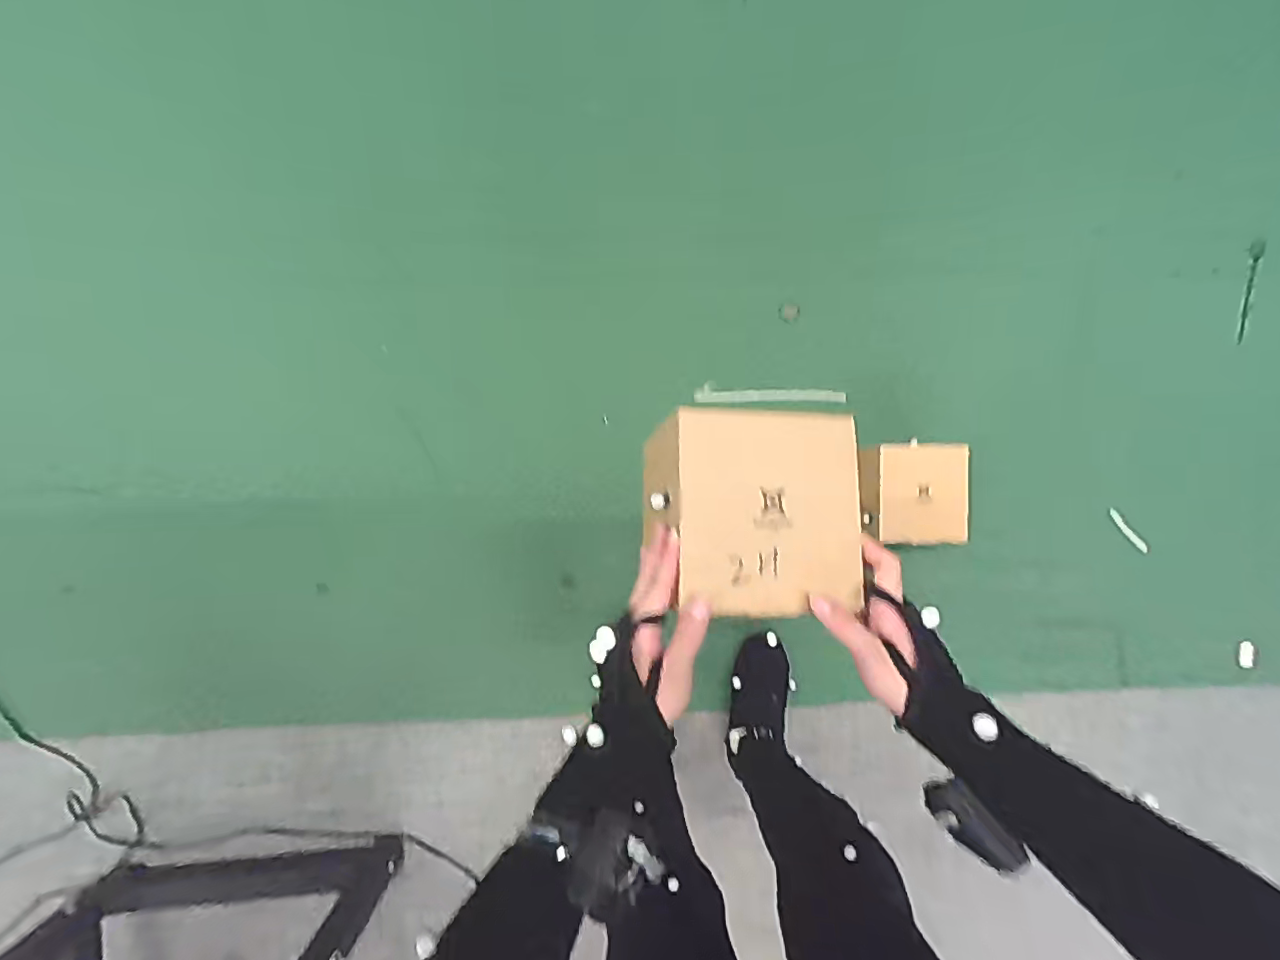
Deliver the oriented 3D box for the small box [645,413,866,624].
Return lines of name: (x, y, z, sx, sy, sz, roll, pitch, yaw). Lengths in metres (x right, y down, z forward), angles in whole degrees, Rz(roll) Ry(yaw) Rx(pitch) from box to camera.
small box: (0.100, 0.043, 0.534, 0.168, 0.176, 0.179, 2, 83, -9)

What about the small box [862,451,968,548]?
small box: (0.508, 0.036, 1.054, 0.168, 0.176, 0.179, 0, 91, -2)
